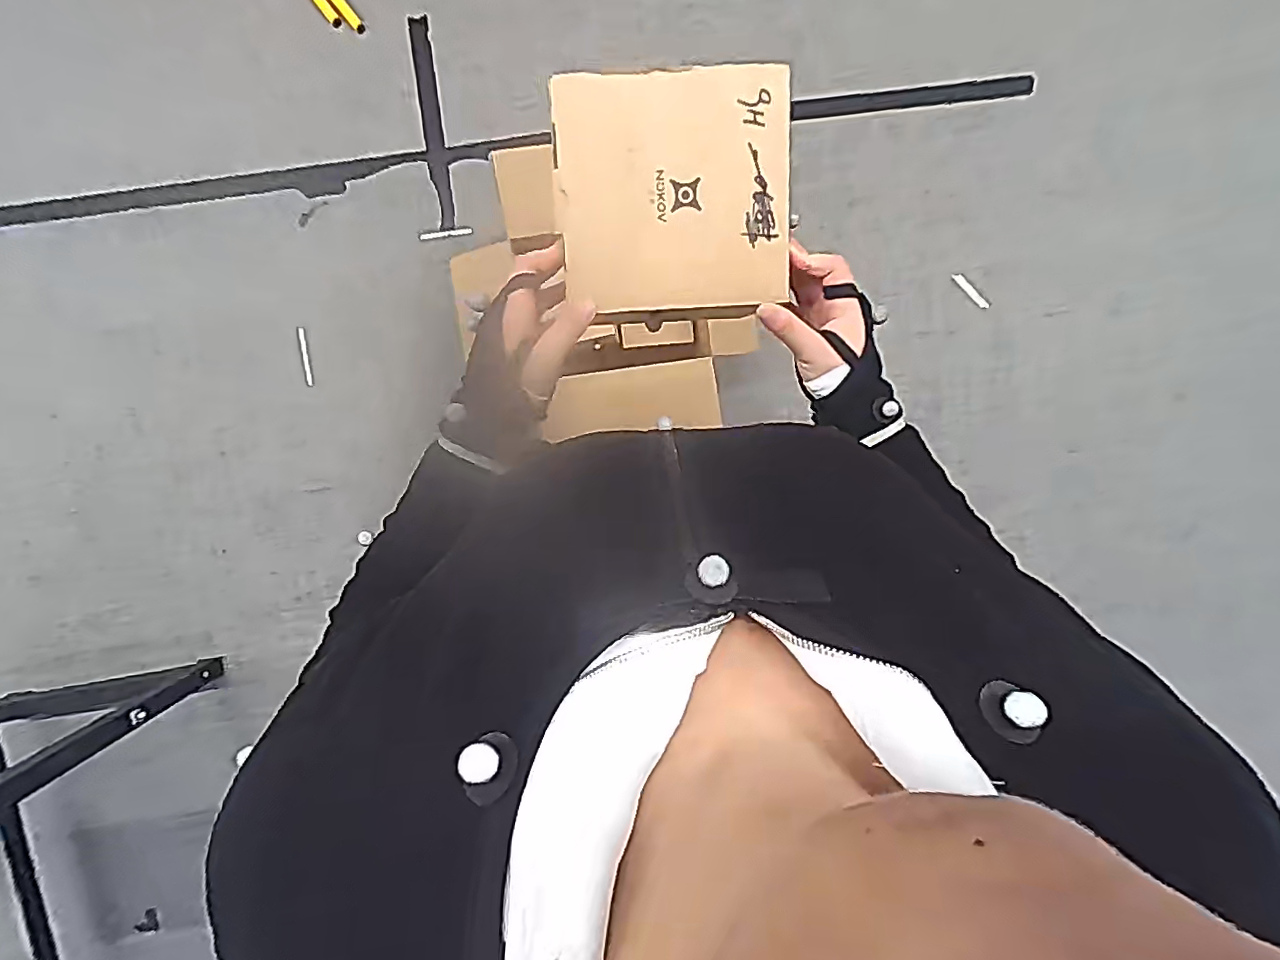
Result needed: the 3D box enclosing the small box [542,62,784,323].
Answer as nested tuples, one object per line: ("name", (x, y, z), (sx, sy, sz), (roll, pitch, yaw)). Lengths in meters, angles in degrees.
("small box", (0.019, -0.232, 0.481), (0.179, 0.176, 0.168), (-3, 103, -1))
